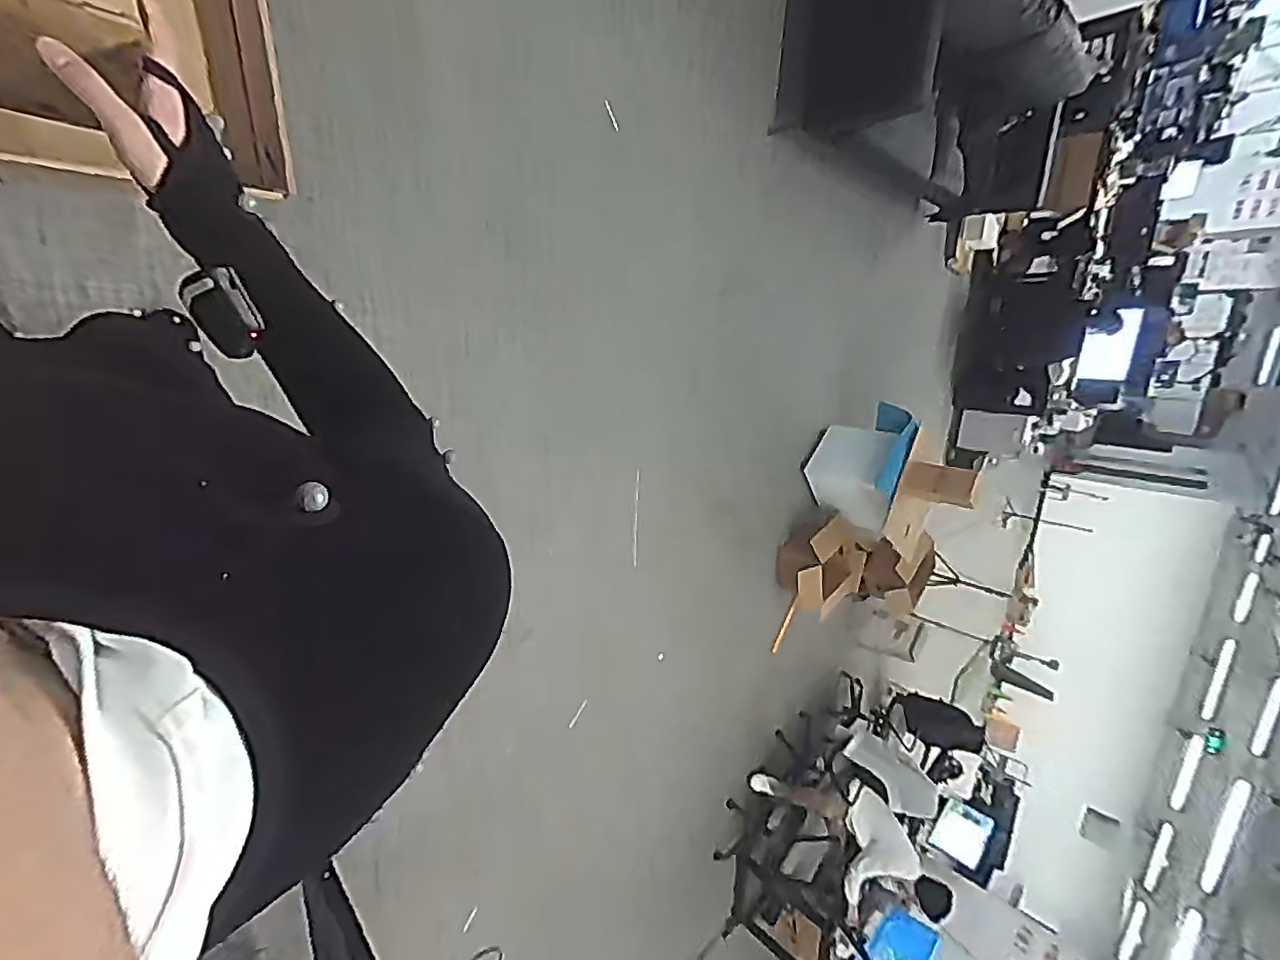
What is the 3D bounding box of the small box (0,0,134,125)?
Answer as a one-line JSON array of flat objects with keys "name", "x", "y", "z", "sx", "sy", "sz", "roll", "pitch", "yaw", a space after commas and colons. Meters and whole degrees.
[{"name": "small box", "x": -0.499, "y": -0.413, "z": 0.403, "sx": 0.168, "sy": 0.176, "sz": 0.179, "roll": -9, "pitch": 92, "yaw": -43}]
